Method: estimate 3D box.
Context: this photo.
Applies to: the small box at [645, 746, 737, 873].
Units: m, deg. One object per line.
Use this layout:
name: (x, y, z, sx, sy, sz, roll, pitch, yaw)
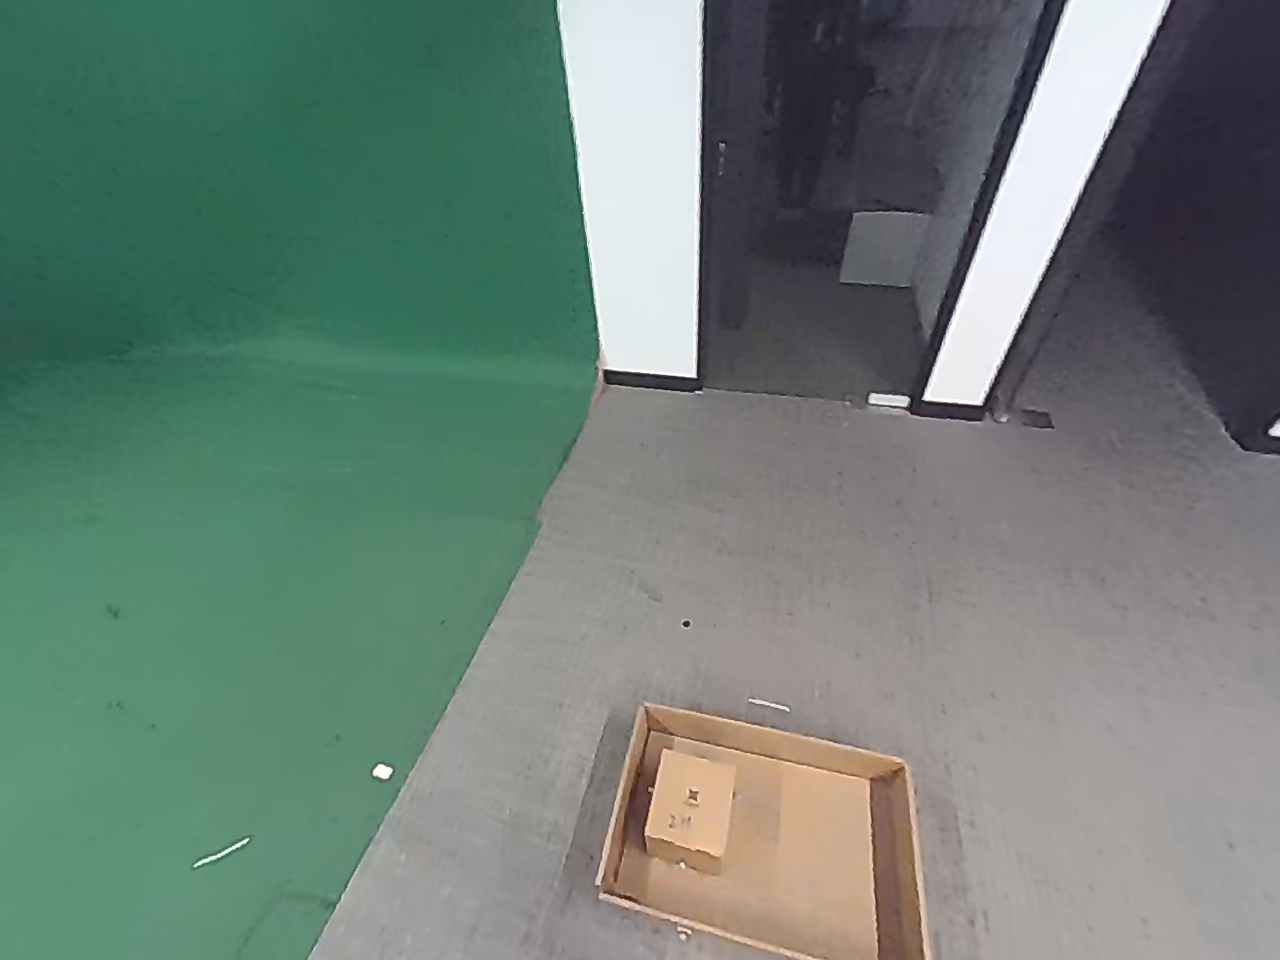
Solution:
small box: (0.113, 0.724, 1.188, 0.168, 0.176, 0.179, 9, 45, 13)
